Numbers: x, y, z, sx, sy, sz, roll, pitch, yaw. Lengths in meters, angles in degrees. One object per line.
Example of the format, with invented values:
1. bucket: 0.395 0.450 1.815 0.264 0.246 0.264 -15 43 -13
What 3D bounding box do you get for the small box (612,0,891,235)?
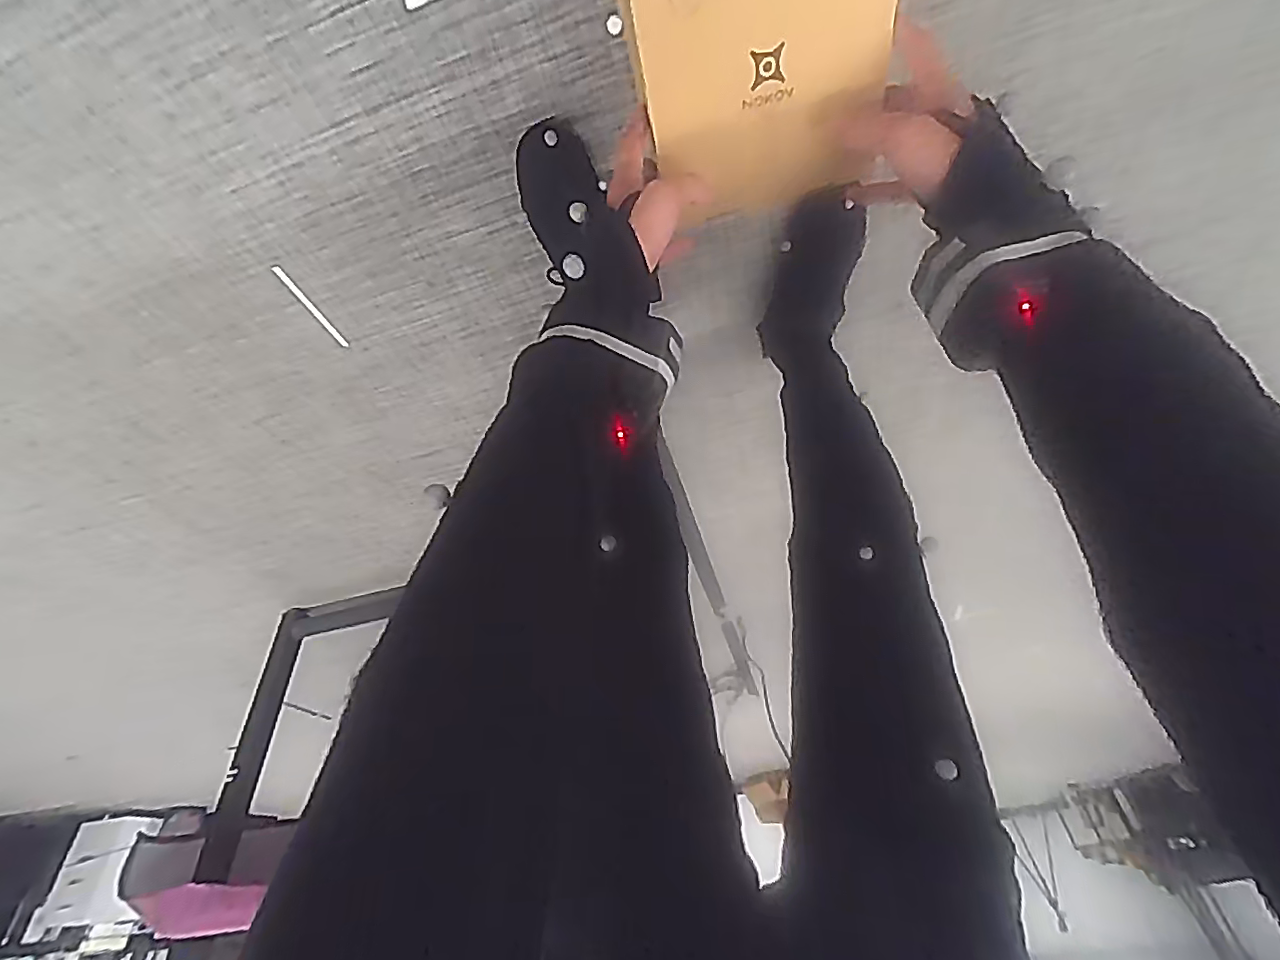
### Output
1. small box: 0.073 -0.328 0.410 0.168 0.176 0.179 -12 143 7
